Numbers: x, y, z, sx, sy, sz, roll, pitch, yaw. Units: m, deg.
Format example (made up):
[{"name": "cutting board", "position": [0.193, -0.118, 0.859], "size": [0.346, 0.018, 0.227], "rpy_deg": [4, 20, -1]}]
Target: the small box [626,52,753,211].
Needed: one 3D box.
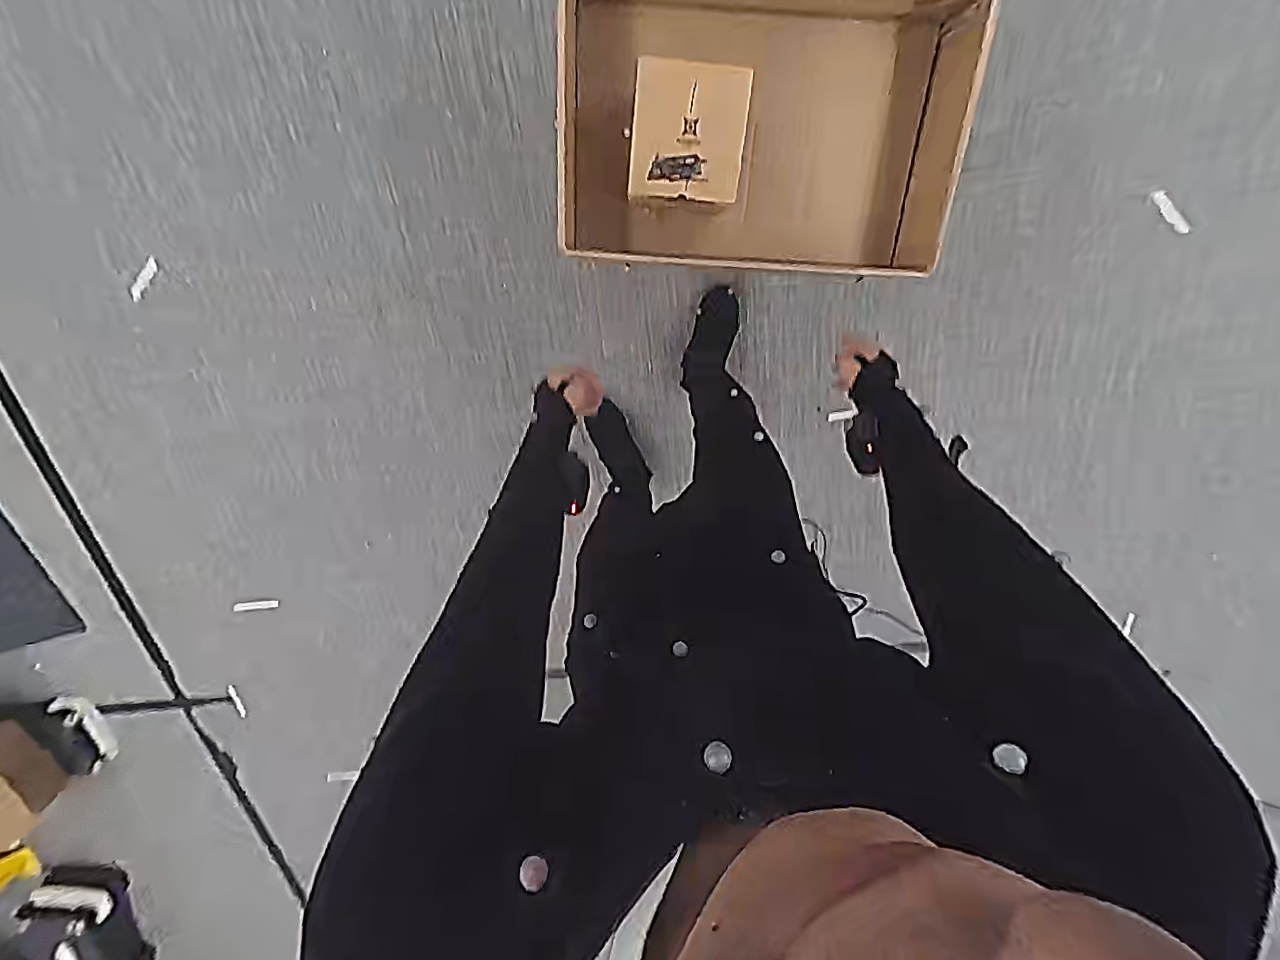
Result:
[{"name": "small box", "position": [0.070, -0.536, 0.857], "size": [0.168, 0.176, 0.179], "rpy_deg": [5, 111, -3]}]
